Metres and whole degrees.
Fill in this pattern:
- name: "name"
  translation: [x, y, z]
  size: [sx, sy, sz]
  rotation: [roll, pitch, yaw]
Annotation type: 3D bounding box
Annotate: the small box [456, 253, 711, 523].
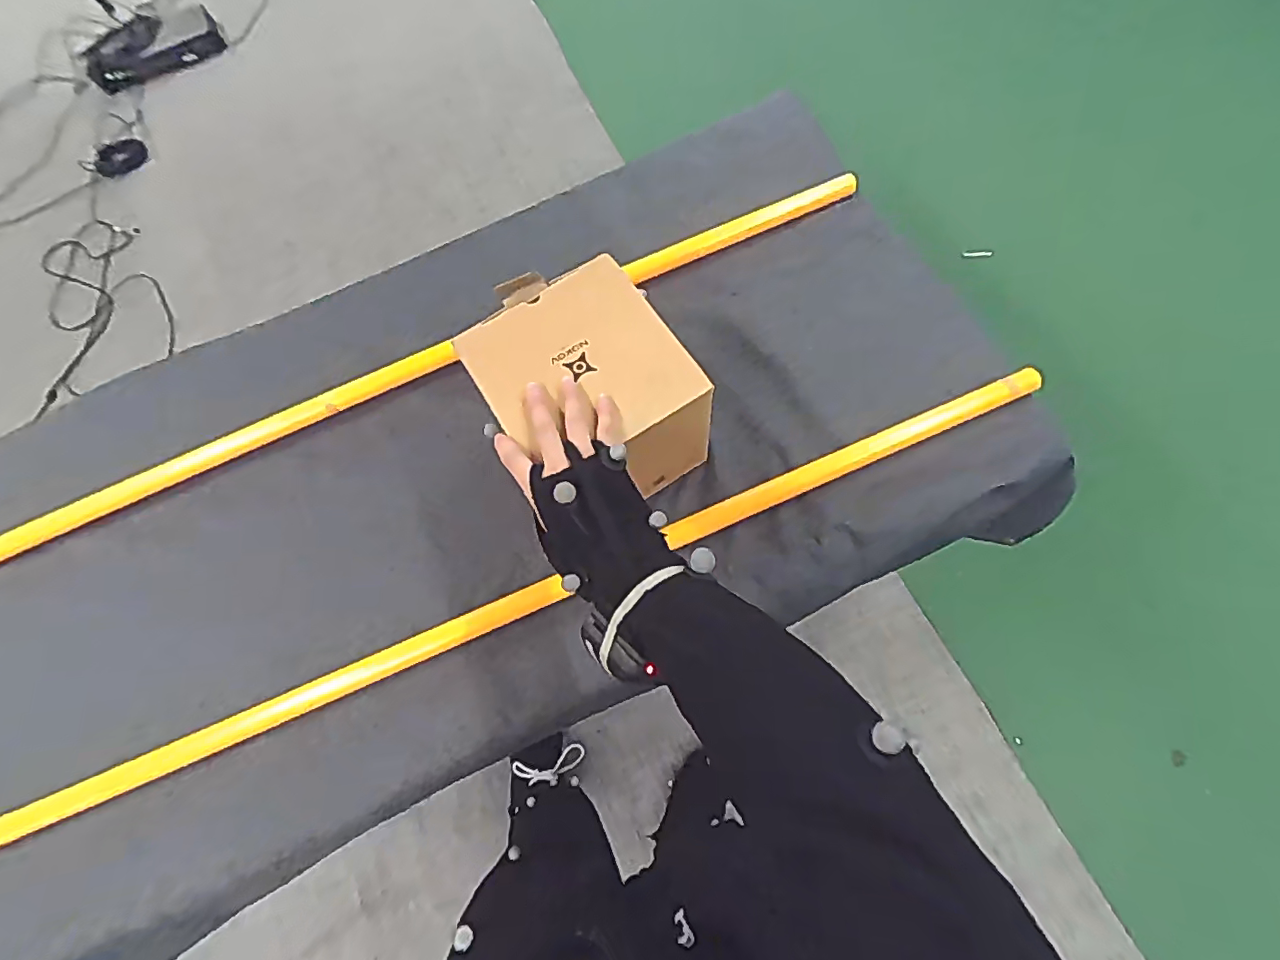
- name: "small box"
  translation: [-0.044, -0.074, 0.536]
  size: [0.168, 0.176, 0.179]
  rotation: [-32, 70, -6]
